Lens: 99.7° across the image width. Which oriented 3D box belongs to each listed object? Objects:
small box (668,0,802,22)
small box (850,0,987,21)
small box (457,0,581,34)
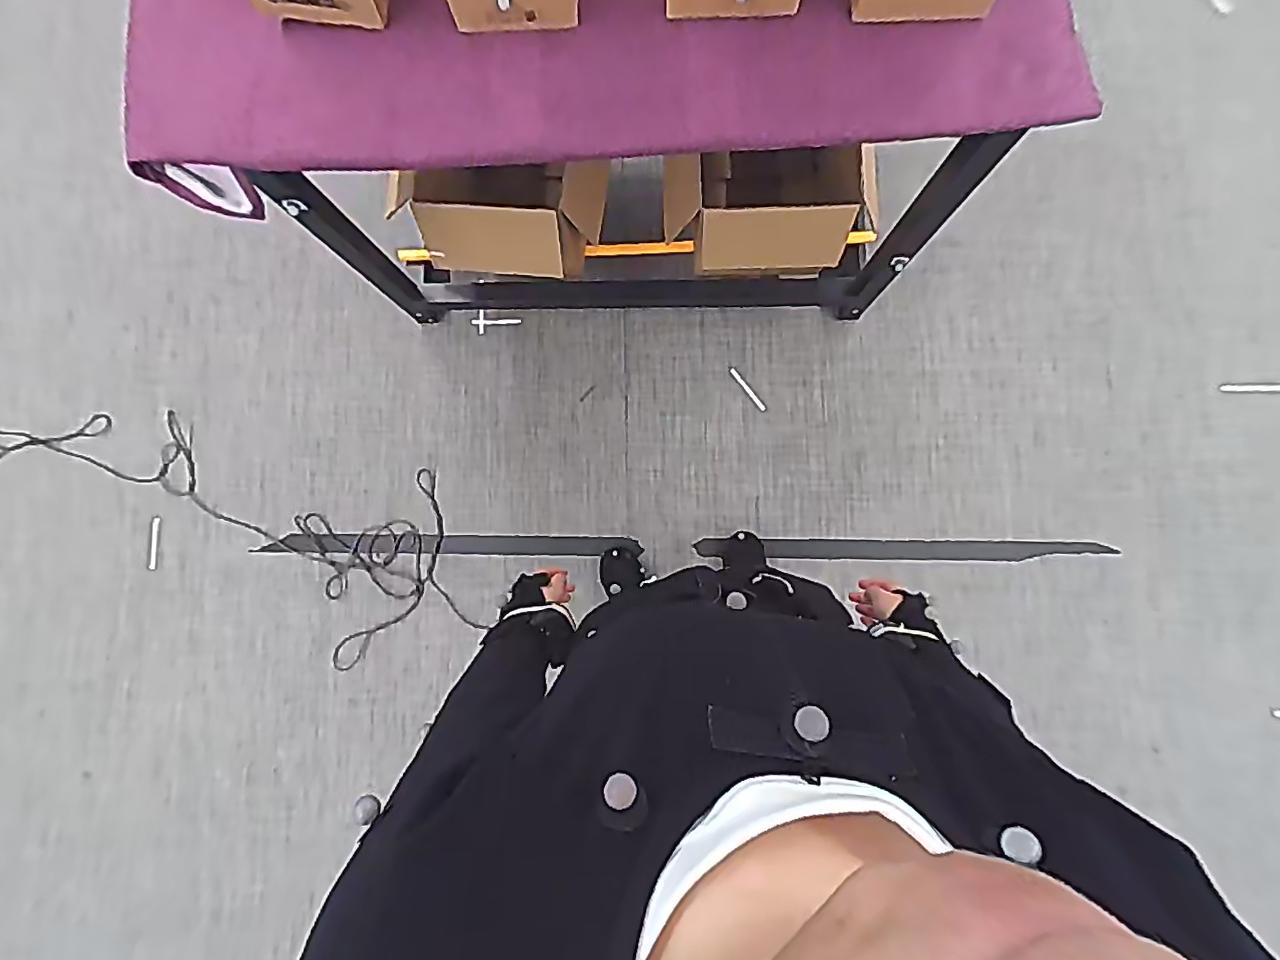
[{"bbox_3d":[0.124,-0.712,0.659,0.179,0.176,0.168,1,83,3],"label":"small box"},{"bbox_3d":[0.370,-0.699,0.650,0.179,0.176,0.168,1,82,2],"label":"small box"},{"bbox_3d":[-0.164,-0.710,0.673,0.168,0.176,0.179,-1,85,2],"label":"small box"}]
